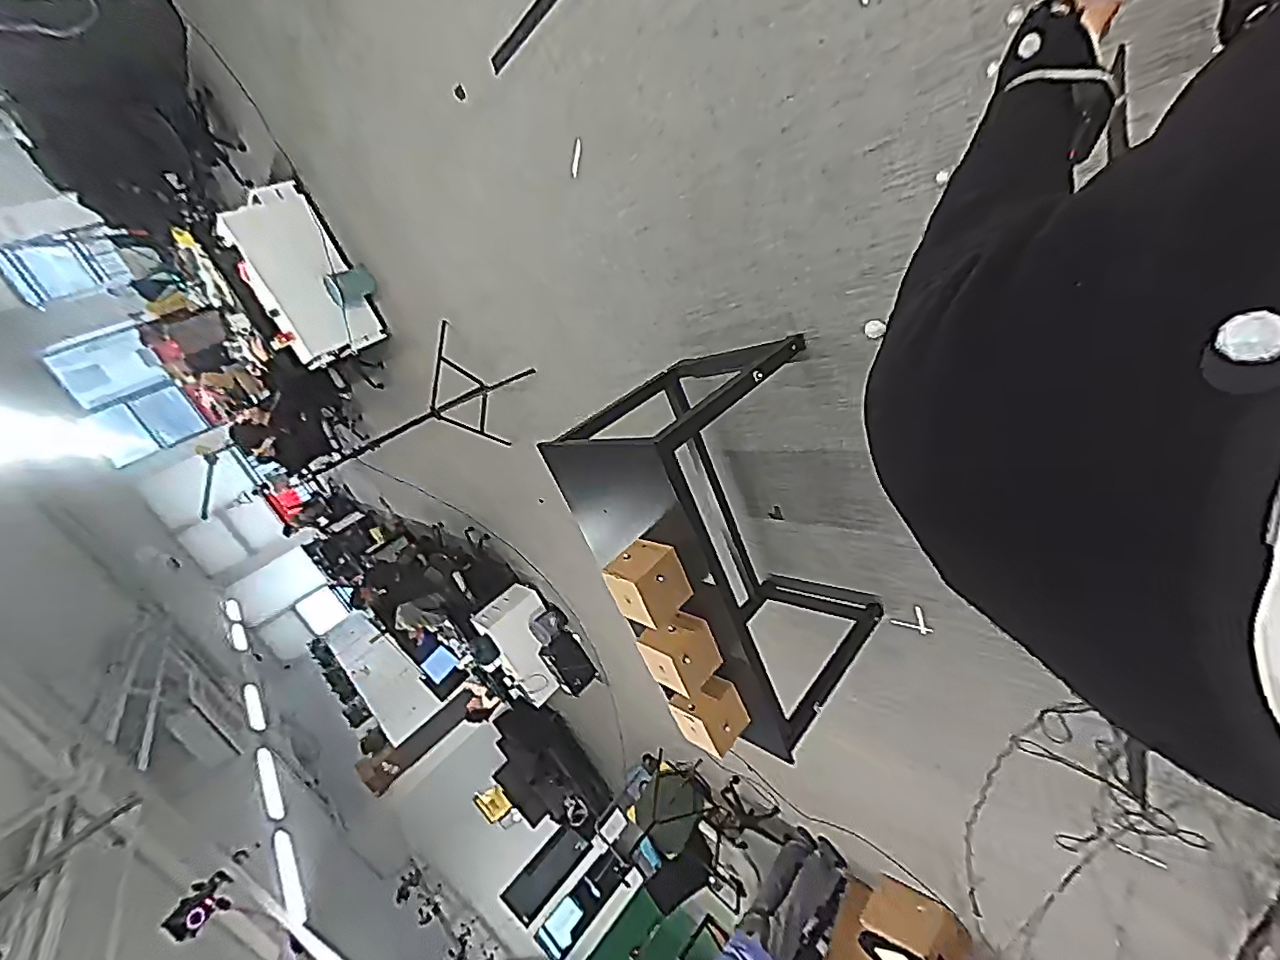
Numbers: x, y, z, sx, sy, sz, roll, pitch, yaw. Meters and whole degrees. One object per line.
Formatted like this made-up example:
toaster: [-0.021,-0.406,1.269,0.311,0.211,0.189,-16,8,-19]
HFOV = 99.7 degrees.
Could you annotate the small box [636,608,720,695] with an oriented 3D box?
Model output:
small box: [0.122,0.525,1.690,0.168,0.176,0.179,7,127,51]

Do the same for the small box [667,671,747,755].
small box: [0.227,0.756,1.789,0.168,0.176,0.179,2,123,52]

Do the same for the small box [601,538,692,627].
small box: [0.022,0.292,1.586,0.168,0.176,0.179,6,127,52]
